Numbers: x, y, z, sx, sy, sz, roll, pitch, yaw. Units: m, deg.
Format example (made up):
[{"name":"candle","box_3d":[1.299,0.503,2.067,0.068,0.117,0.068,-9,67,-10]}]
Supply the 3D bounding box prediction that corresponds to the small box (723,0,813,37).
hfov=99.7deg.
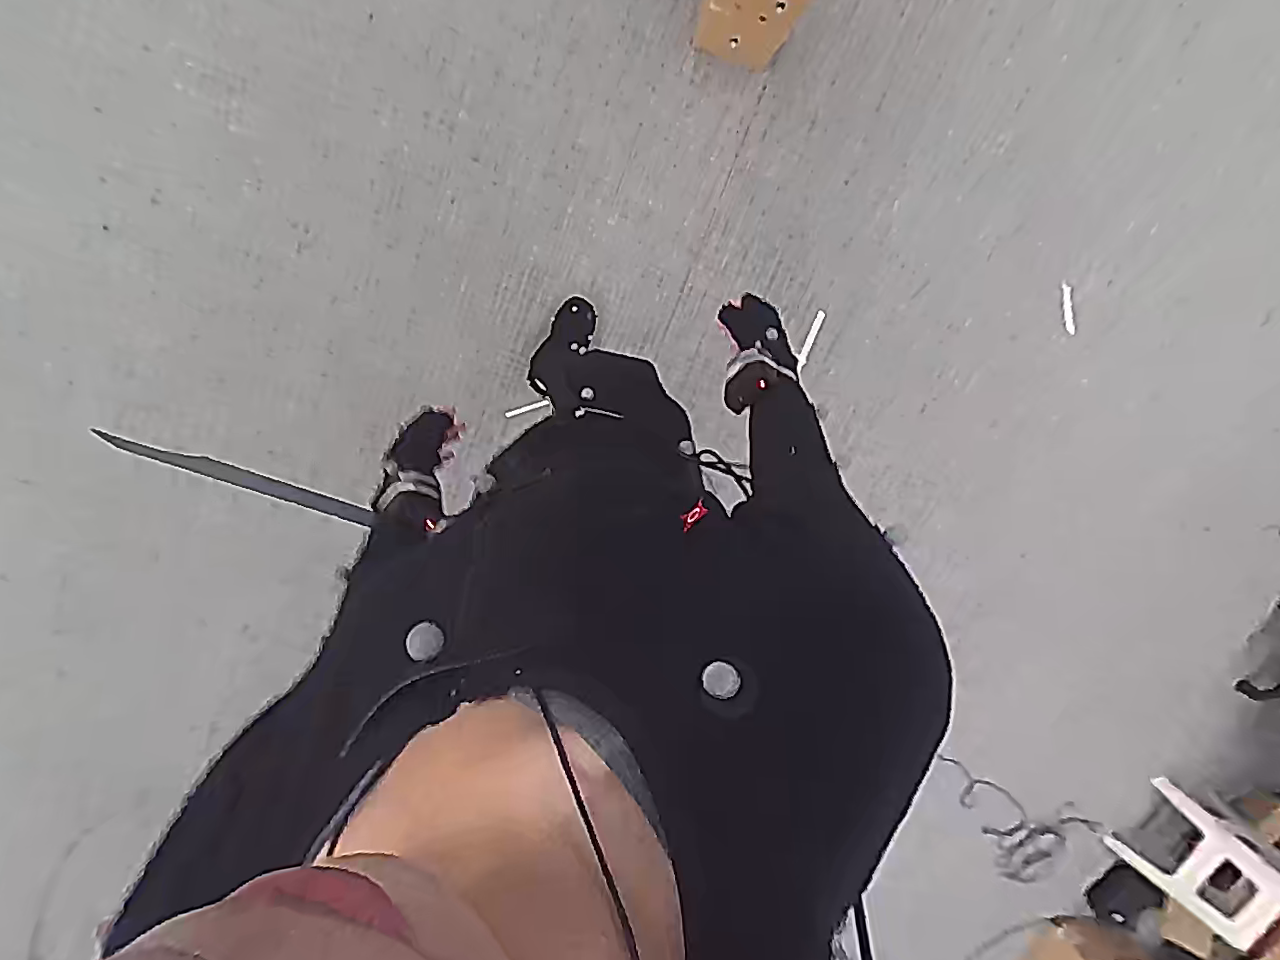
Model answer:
[{"name":"small box","box_3d":[0.265,-0.998,1.021,0.168,0.176,0.179,15,103,-14]}]

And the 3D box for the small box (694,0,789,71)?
[{"name":"small box","box_3d":[0.234,-1.034,1.177,0.179,0.176,0.168,12,104,-11]}]
